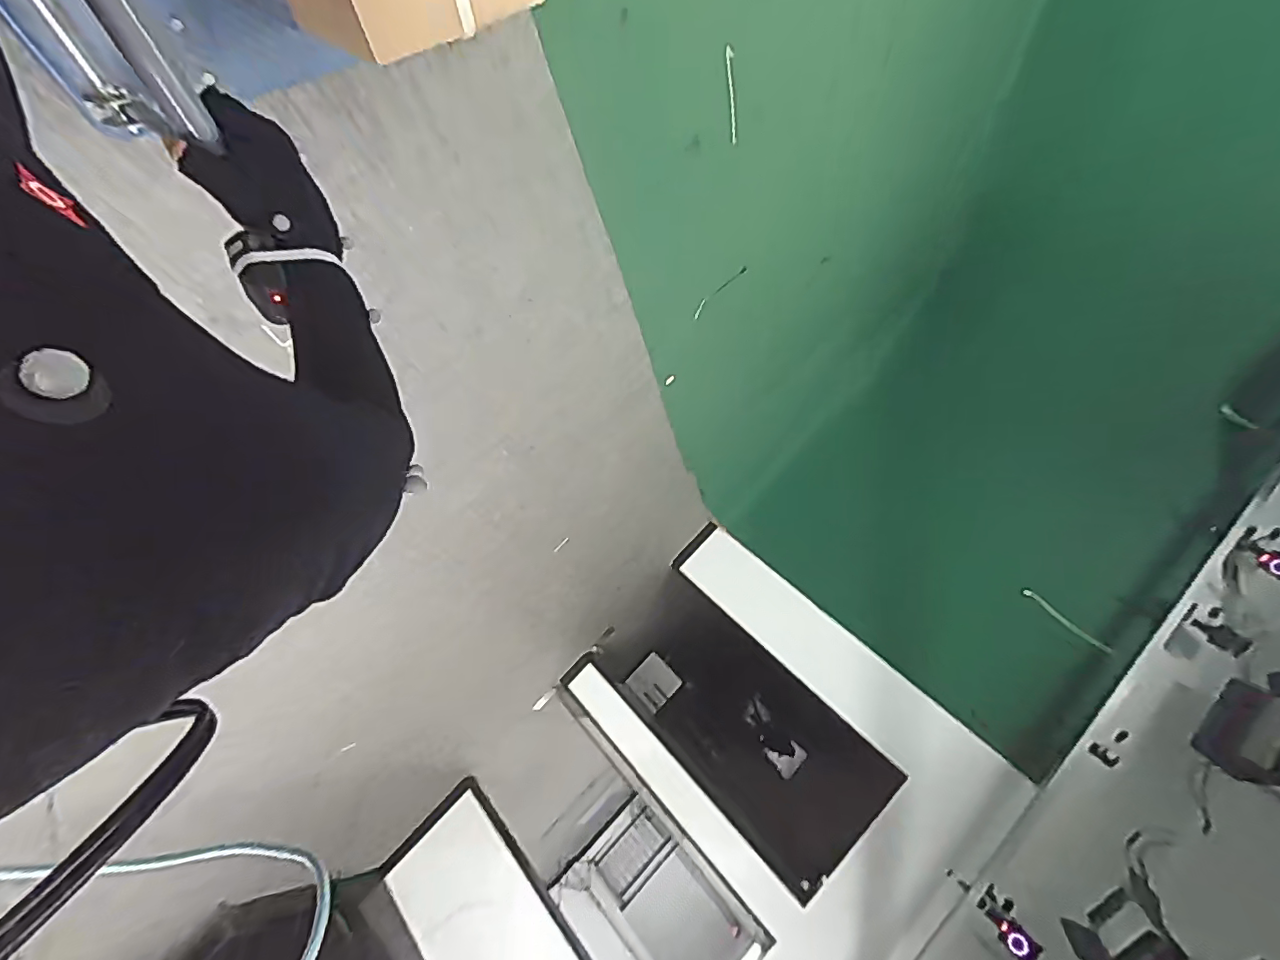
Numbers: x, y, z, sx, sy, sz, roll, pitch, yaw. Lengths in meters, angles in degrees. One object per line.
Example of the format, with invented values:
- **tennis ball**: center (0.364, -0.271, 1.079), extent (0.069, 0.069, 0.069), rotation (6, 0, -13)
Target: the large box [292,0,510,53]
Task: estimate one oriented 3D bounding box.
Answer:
- **large box**: center (-0.398, -0.907, 0.746), extent (0.320, 0.320, 0.408), rotation (-39, 150, -19)
